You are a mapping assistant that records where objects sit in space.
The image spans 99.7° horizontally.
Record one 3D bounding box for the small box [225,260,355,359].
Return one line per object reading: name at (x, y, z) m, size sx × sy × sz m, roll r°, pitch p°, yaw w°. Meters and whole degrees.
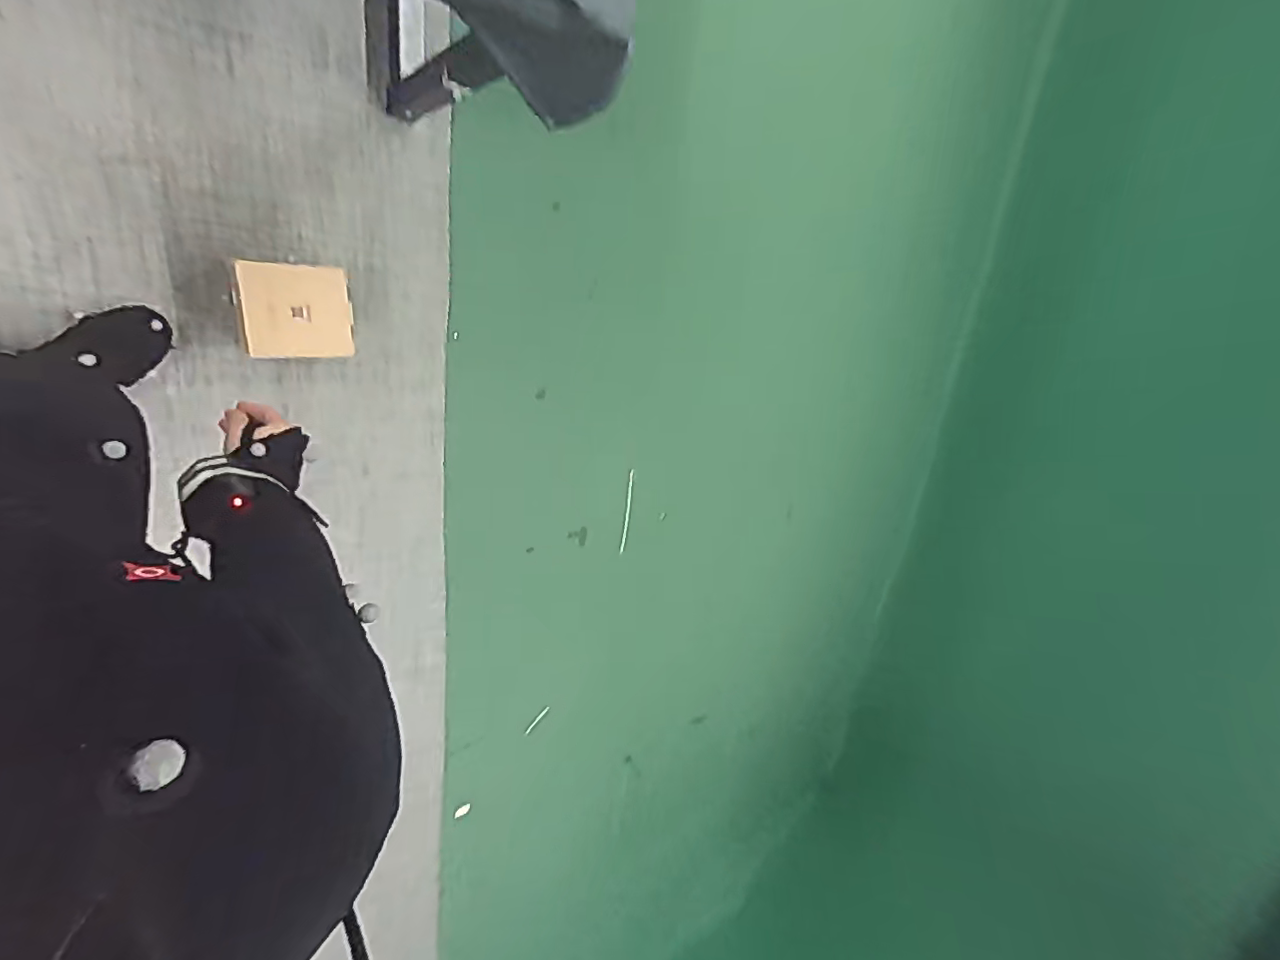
small box at (-0.675, -0.331, 1.045) m, size 0.179 × 0.176 × 0.168 m, roll -13°, pitch 115°, yaw -38°
